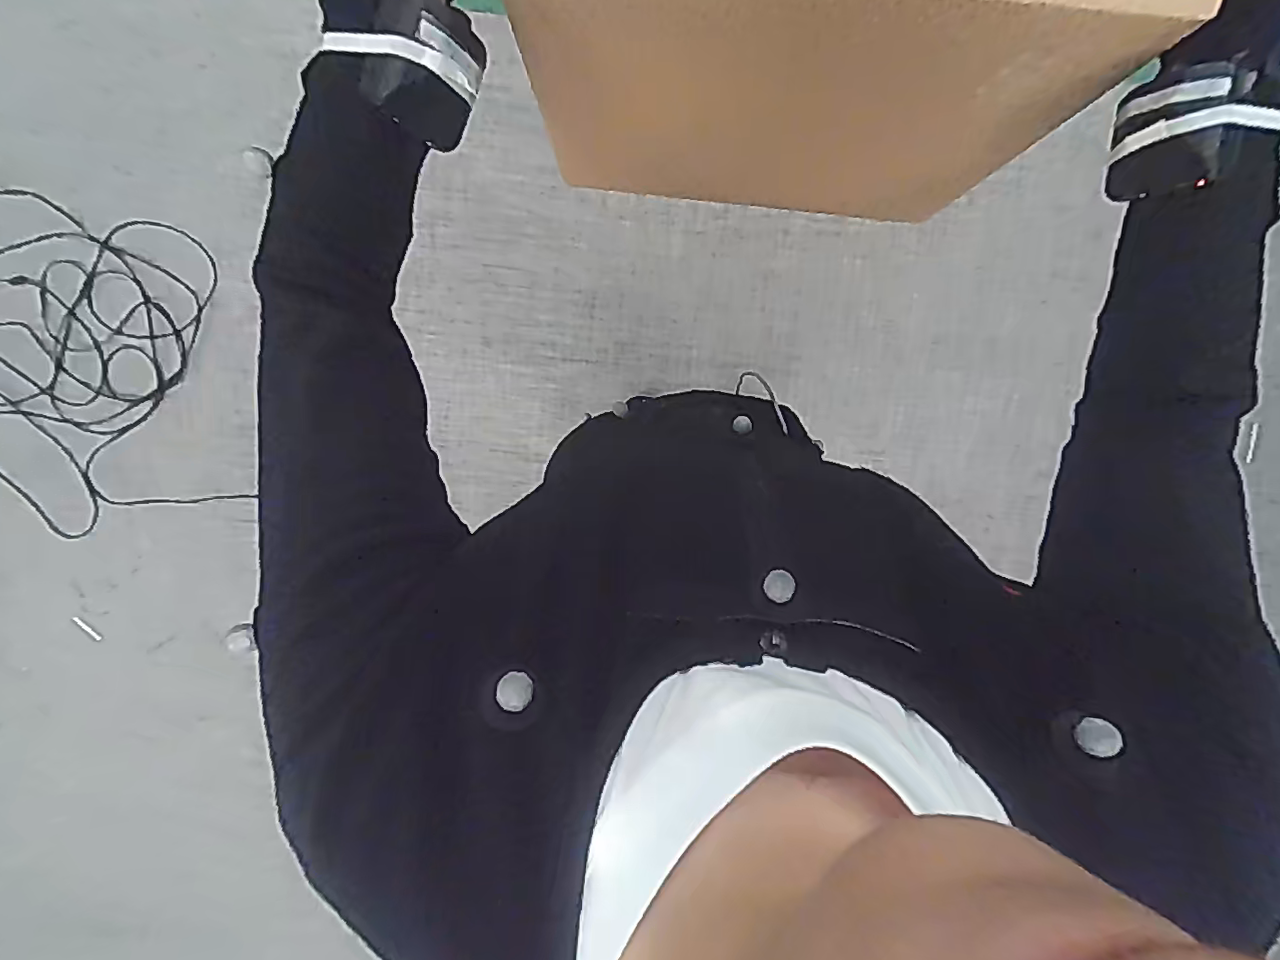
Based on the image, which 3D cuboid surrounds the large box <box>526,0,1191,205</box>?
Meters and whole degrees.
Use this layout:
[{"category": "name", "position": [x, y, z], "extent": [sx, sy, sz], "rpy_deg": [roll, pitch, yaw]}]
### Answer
[{"category": "large box", "position": [0.131, -0.452, 0.438], "extent": [0.408, 0.320, 0.320], "rpy_deg": [5, 97, -1]}]
